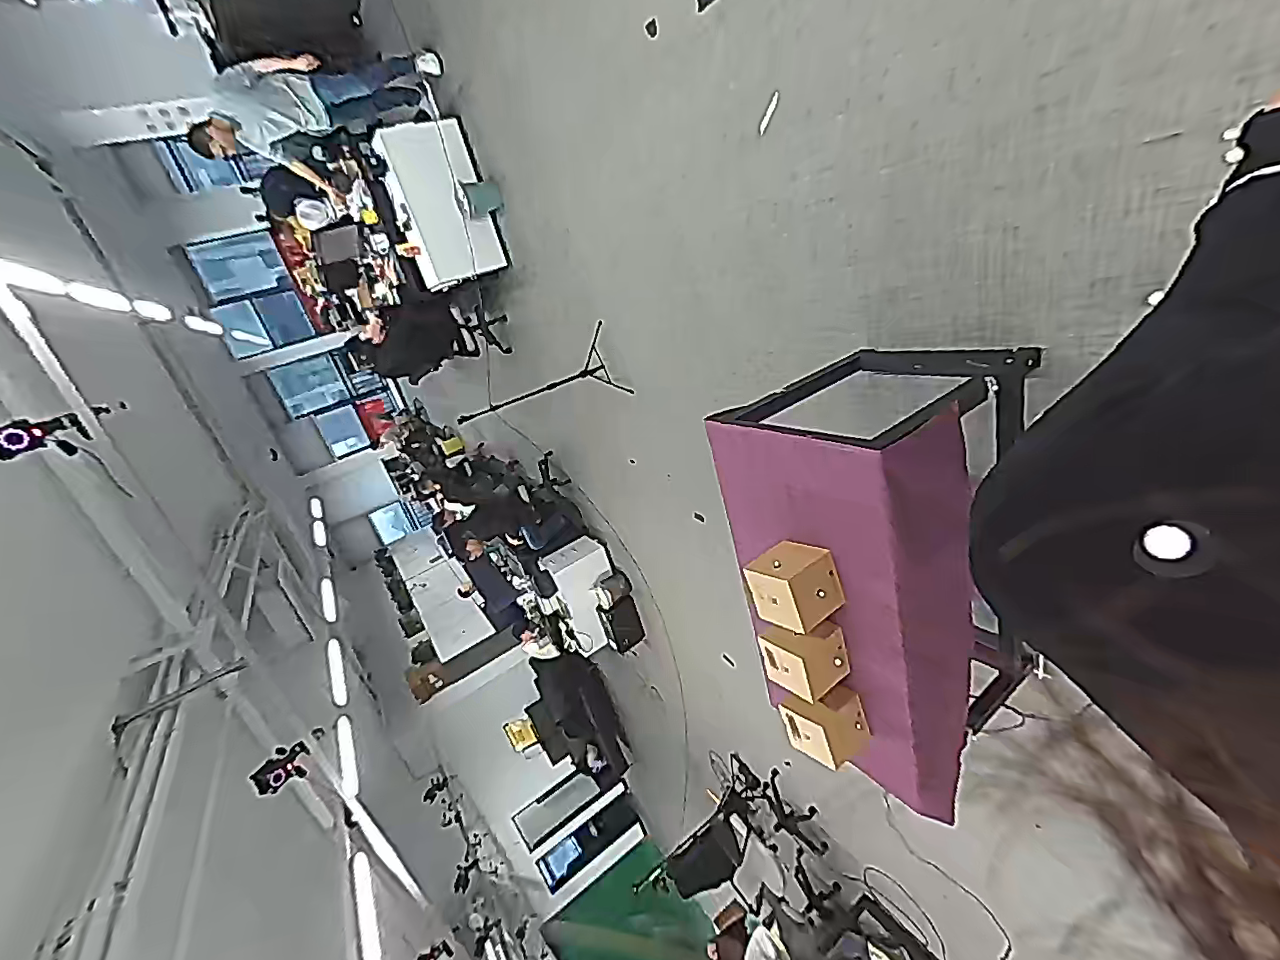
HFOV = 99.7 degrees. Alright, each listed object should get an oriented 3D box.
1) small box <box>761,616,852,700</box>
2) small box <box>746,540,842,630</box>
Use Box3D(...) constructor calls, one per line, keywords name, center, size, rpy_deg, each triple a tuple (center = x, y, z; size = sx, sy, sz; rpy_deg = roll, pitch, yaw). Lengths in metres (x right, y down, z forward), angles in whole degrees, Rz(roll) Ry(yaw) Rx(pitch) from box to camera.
Box3D(name="small box", center=(0.492, 0.501, 1.595), size=(0.179, 0.176, 0.168), rpy_deg=(15, 128, 57))
Box3D(name="small box", center=(0.430, 0.280, 1.487), size=(0.179, 0.176, 0.168), rpy_deg=(7, 121, 61))
